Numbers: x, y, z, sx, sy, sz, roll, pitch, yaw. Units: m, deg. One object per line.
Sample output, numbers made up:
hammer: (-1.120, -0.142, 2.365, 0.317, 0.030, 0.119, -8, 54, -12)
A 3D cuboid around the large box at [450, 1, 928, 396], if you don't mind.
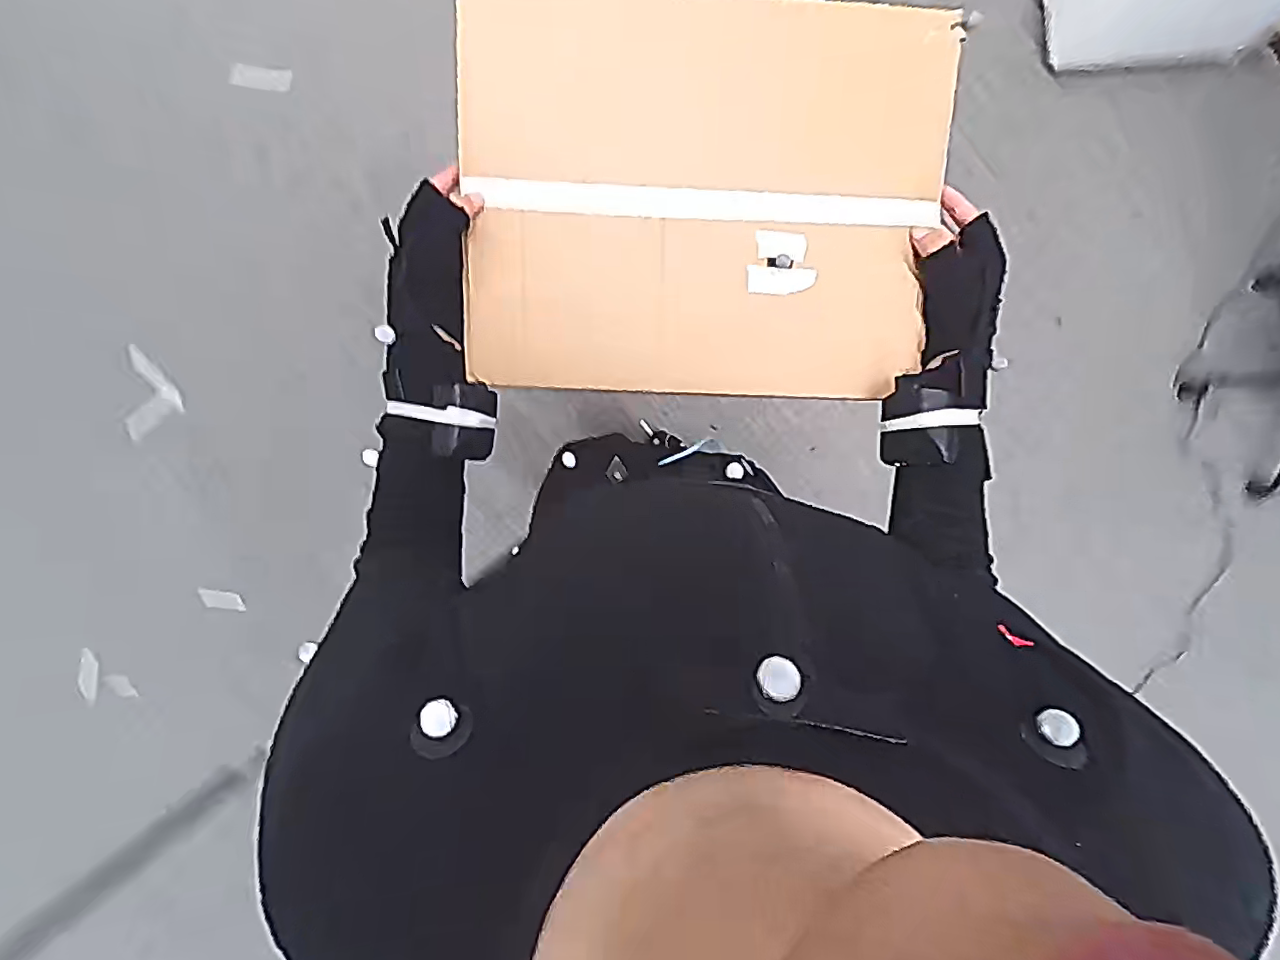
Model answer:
large box: (0.035, -0.261, 0.614, 0.408, 0.320, 0.320, -1, 102, -4)
